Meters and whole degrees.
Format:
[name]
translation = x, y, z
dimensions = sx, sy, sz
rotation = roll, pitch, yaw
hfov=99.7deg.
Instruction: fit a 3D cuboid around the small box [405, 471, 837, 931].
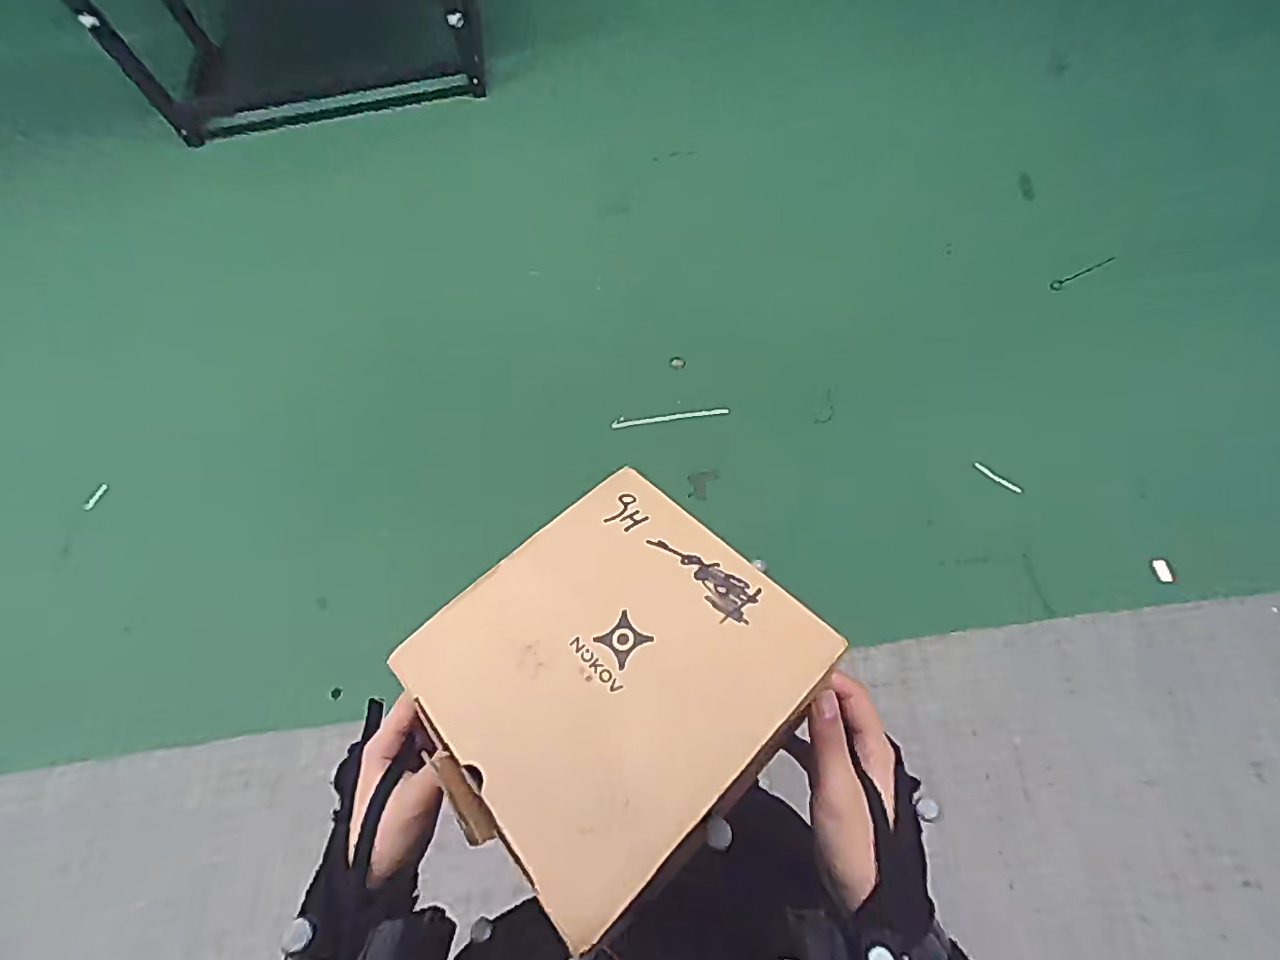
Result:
[small box]
translation = -0.004, 0.135, 0.348
dimensions = 0.179, 0.176, 0.168
rotation = -40, 59, -20
